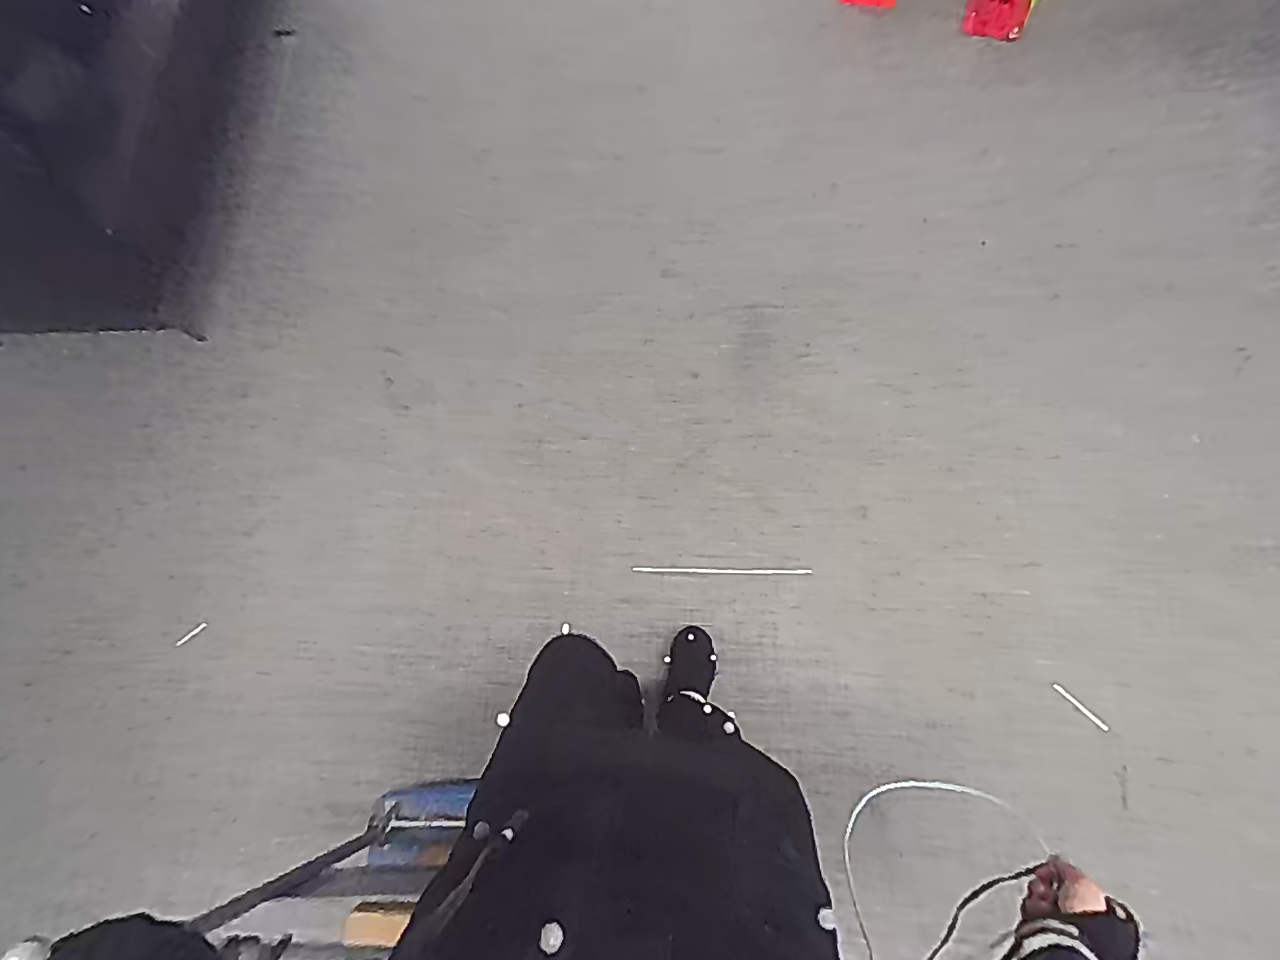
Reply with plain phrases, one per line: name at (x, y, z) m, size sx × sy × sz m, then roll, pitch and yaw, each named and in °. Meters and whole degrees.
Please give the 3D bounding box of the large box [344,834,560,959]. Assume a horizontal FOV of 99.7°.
large box at (-0.332, 0.947, 1.016) m, size 0.320 × 0.320 × 0.408 m, roll -2°, pitch 75°, yaw 5°
